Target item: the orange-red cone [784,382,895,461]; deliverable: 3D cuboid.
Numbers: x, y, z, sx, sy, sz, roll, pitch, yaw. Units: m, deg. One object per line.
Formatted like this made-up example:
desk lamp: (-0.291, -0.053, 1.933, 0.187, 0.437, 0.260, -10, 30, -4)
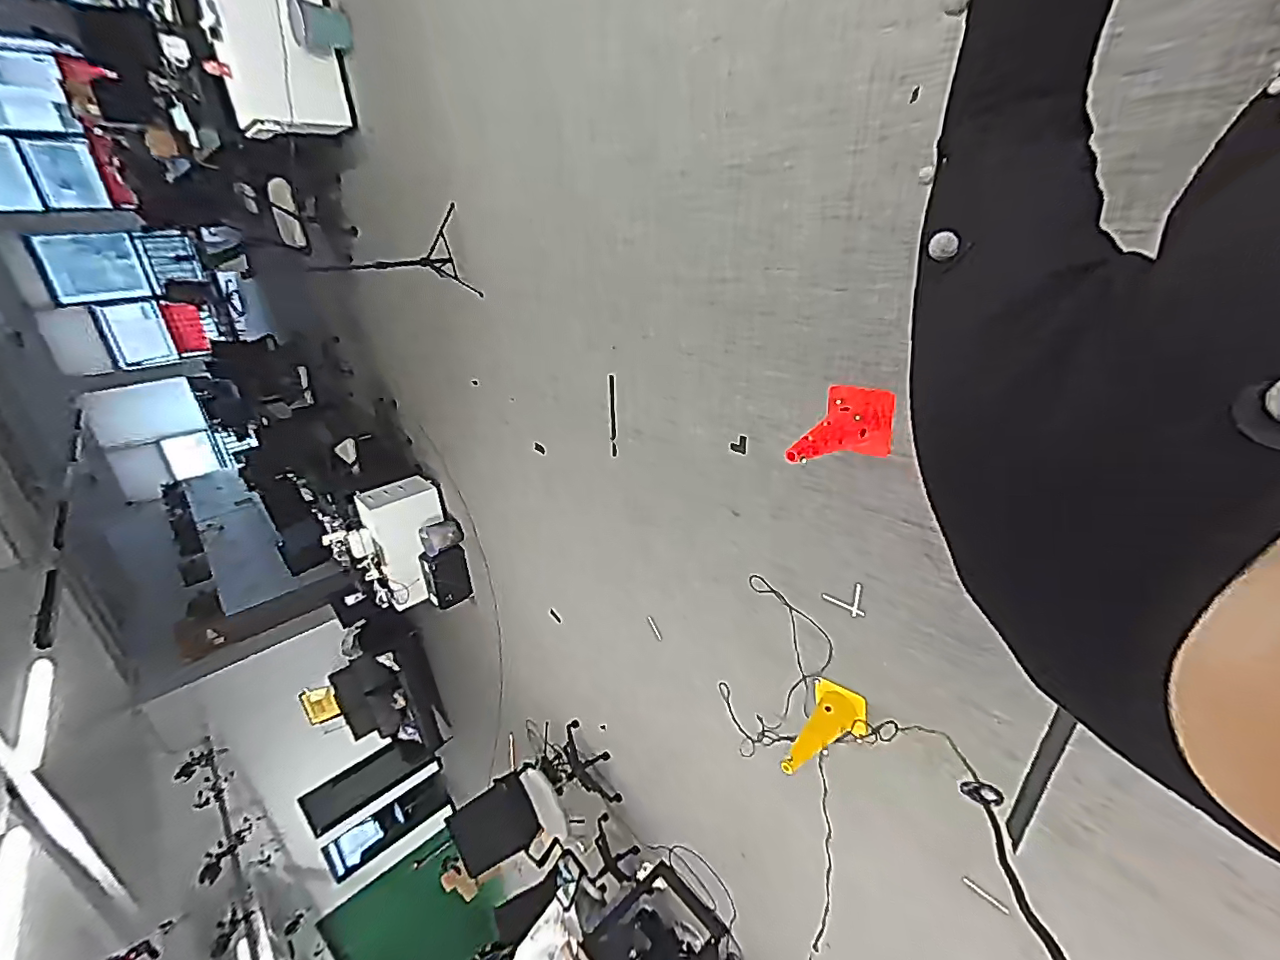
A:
orange-red cone: (0.520, -0.122, 1.495, 0.198, 0.360, 0.199, 22, 127, 45)
